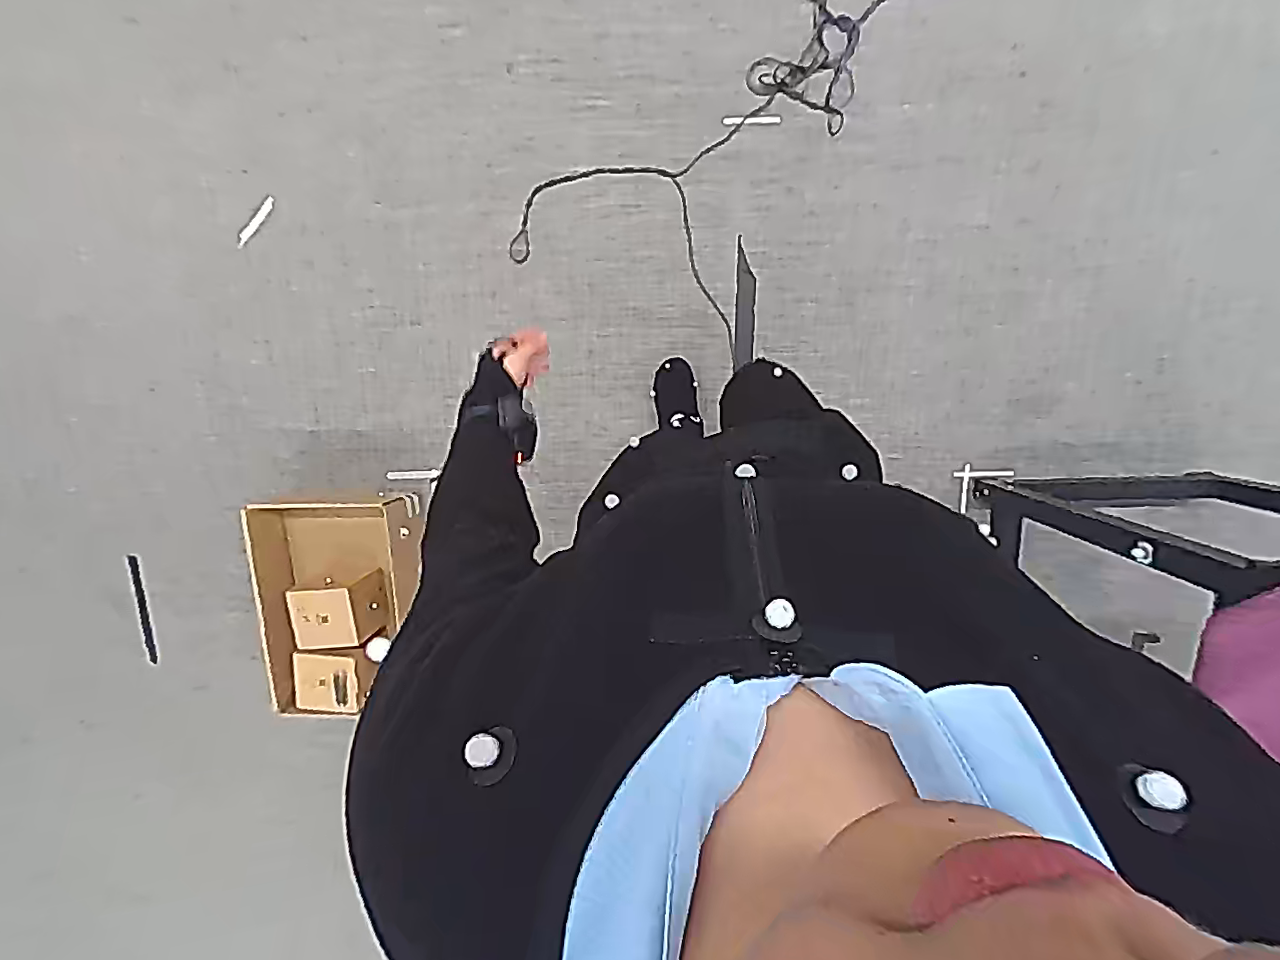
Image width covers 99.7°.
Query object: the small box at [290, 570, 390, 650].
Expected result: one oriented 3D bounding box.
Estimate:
[{"bbox_3d":[-0.823,0.356,1.508,0.179,0.176,0.168,-4,100,5],"label":"small box"}]
